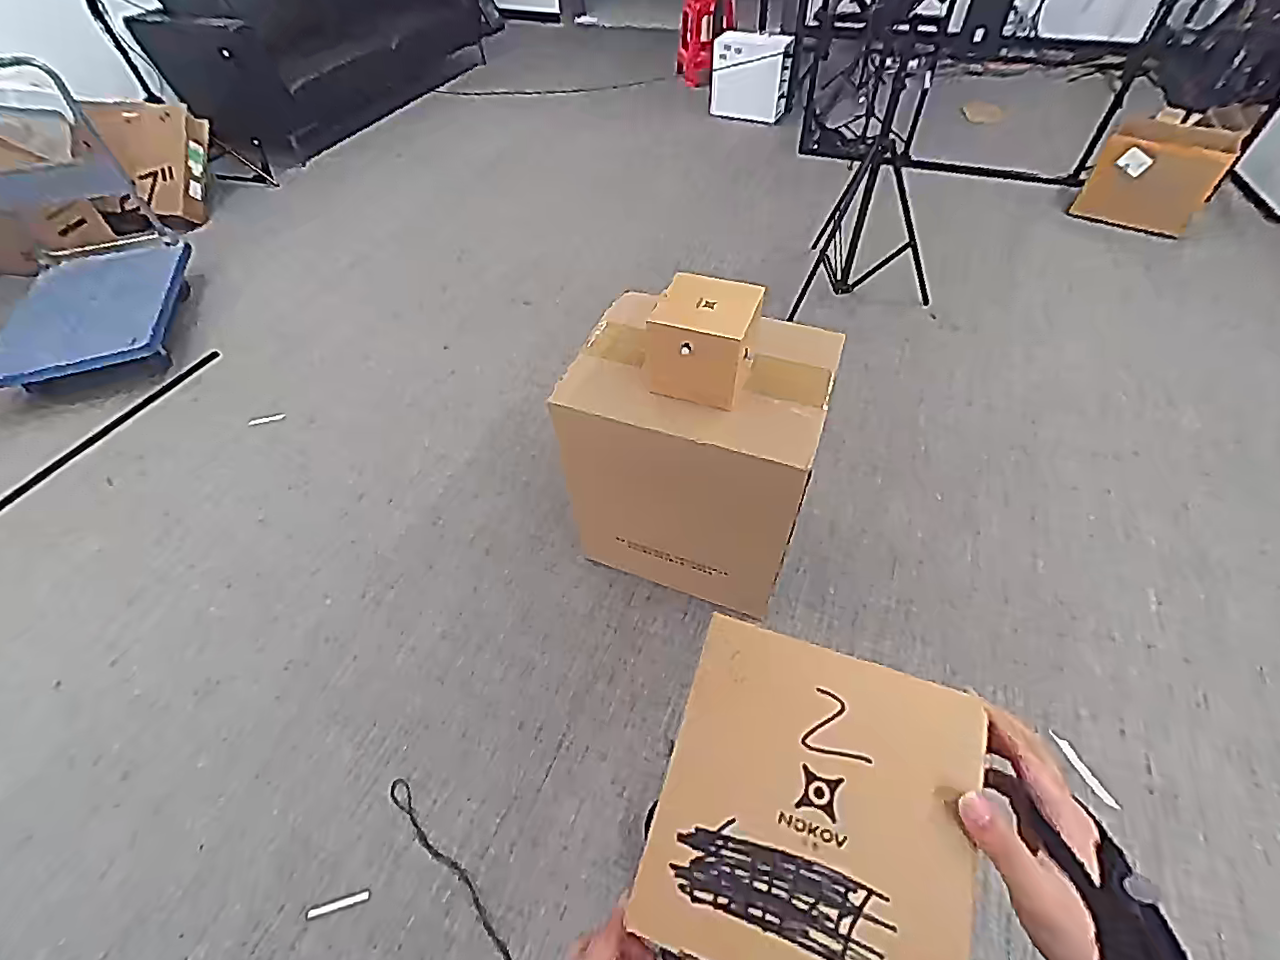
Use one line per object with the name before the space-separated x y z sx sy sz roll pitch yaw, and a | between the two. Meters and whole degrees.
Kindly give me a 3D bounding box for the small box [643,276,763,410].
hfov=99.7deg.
small box | 0.119 -0.256 1.029 0.179 0.176 0.168 16 54 16
